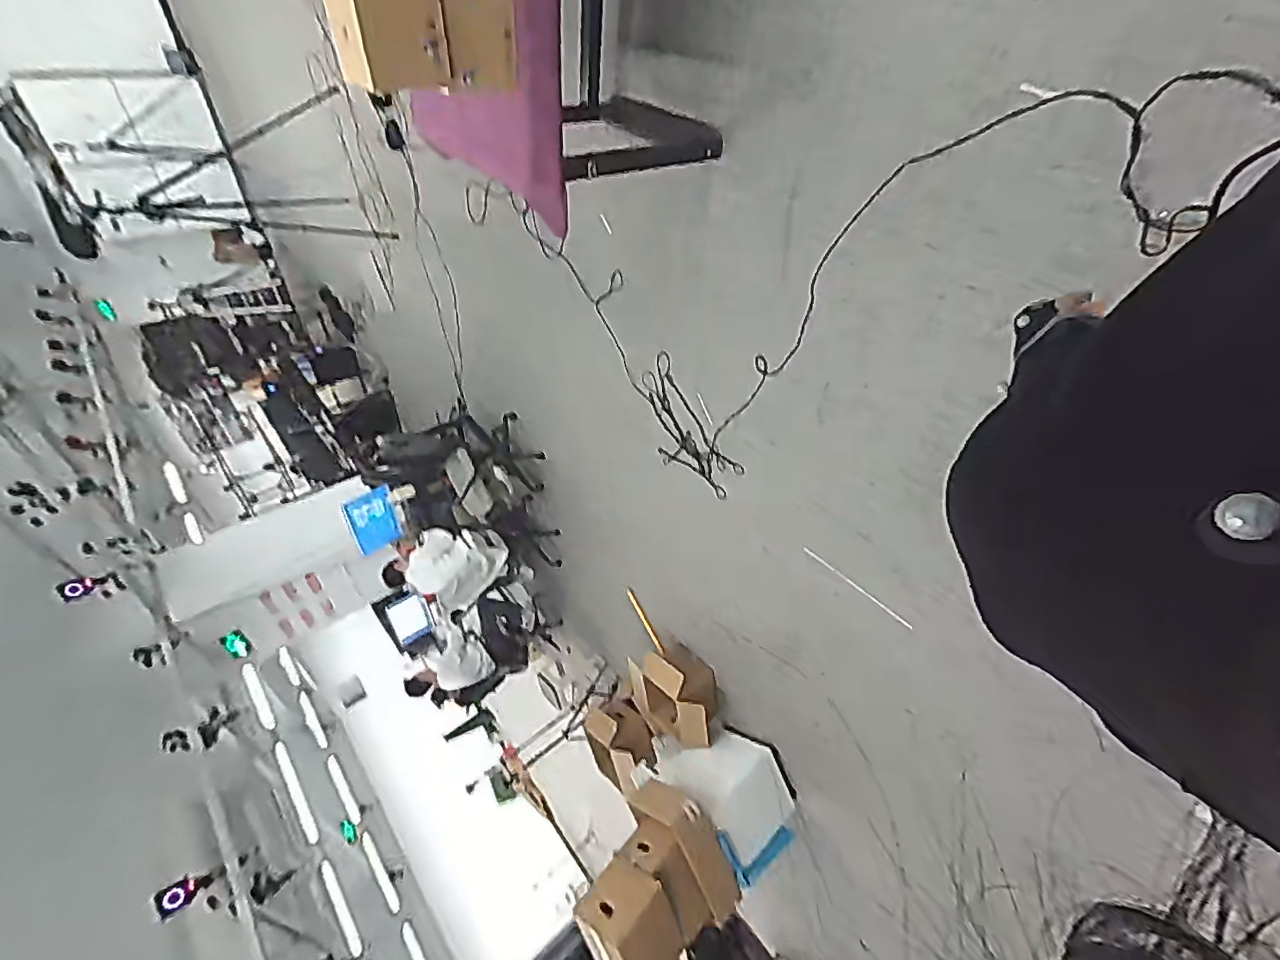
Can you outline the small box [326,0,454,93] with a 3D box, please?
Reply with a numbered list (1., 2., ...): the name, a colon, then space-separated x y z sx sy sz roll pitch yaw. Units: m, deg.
1. small box: -0.490 -0.874 1.064 0.179 0.176 0.168 39 143 33
